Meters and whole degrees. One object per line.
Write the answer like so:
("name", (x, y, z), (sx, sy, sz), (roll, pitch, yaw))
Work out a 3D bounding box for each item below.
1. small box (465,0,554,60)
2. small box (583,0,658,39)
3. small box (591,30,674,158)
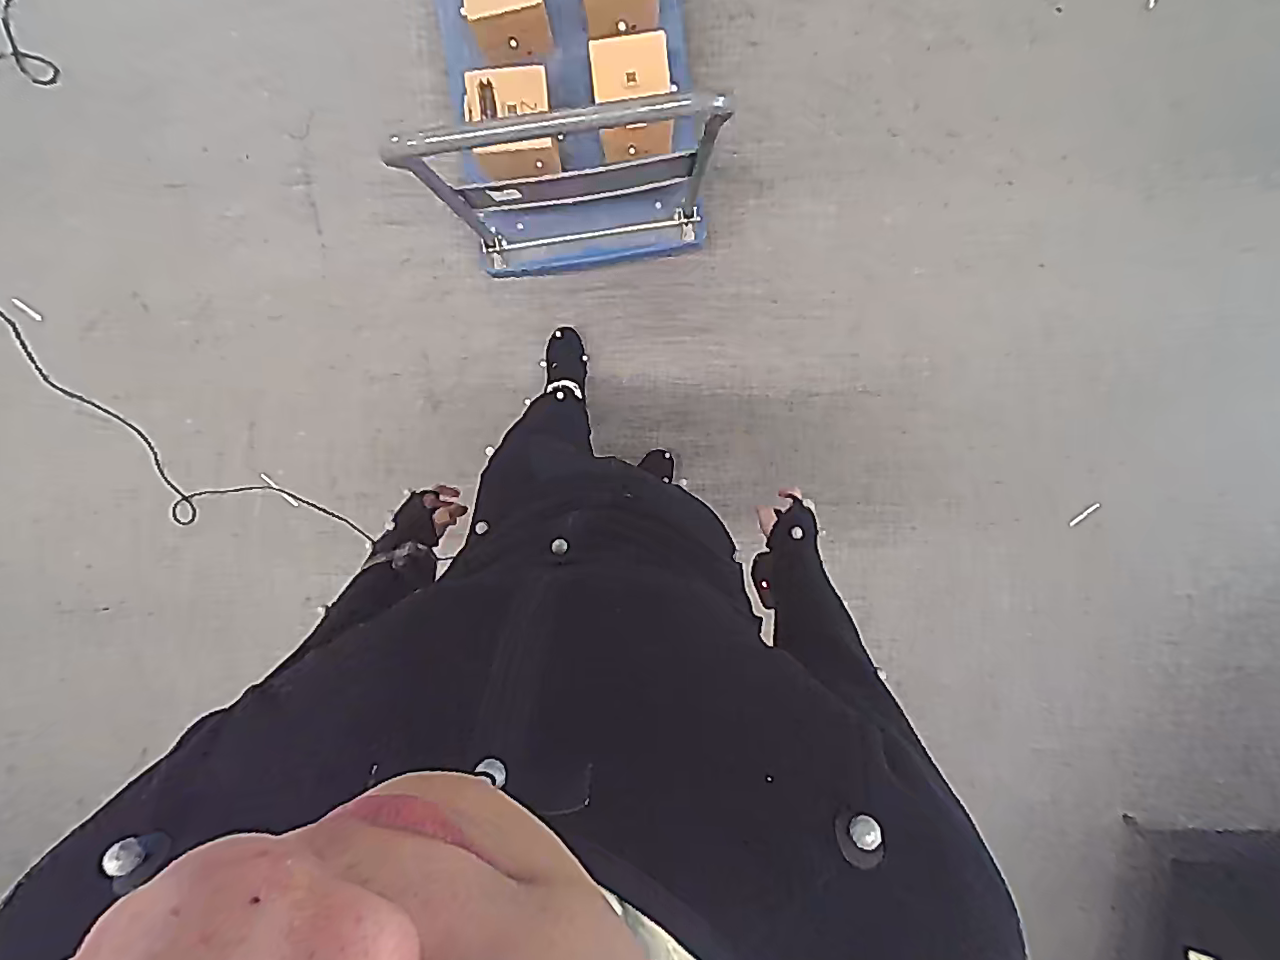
("small box", (-0.302, -1.095, 1.224), (0.168, 0.176, 0.179), (-11, 97, 2))
("small box", (-0.056, -1.146, 1.212), (0.168, 0.176, 0.179), (-11, 99, 3))
("small box", (-0.017, -0.881, 1.250), (0.168, 0.176, 0.179), (-7, 98, 2))
